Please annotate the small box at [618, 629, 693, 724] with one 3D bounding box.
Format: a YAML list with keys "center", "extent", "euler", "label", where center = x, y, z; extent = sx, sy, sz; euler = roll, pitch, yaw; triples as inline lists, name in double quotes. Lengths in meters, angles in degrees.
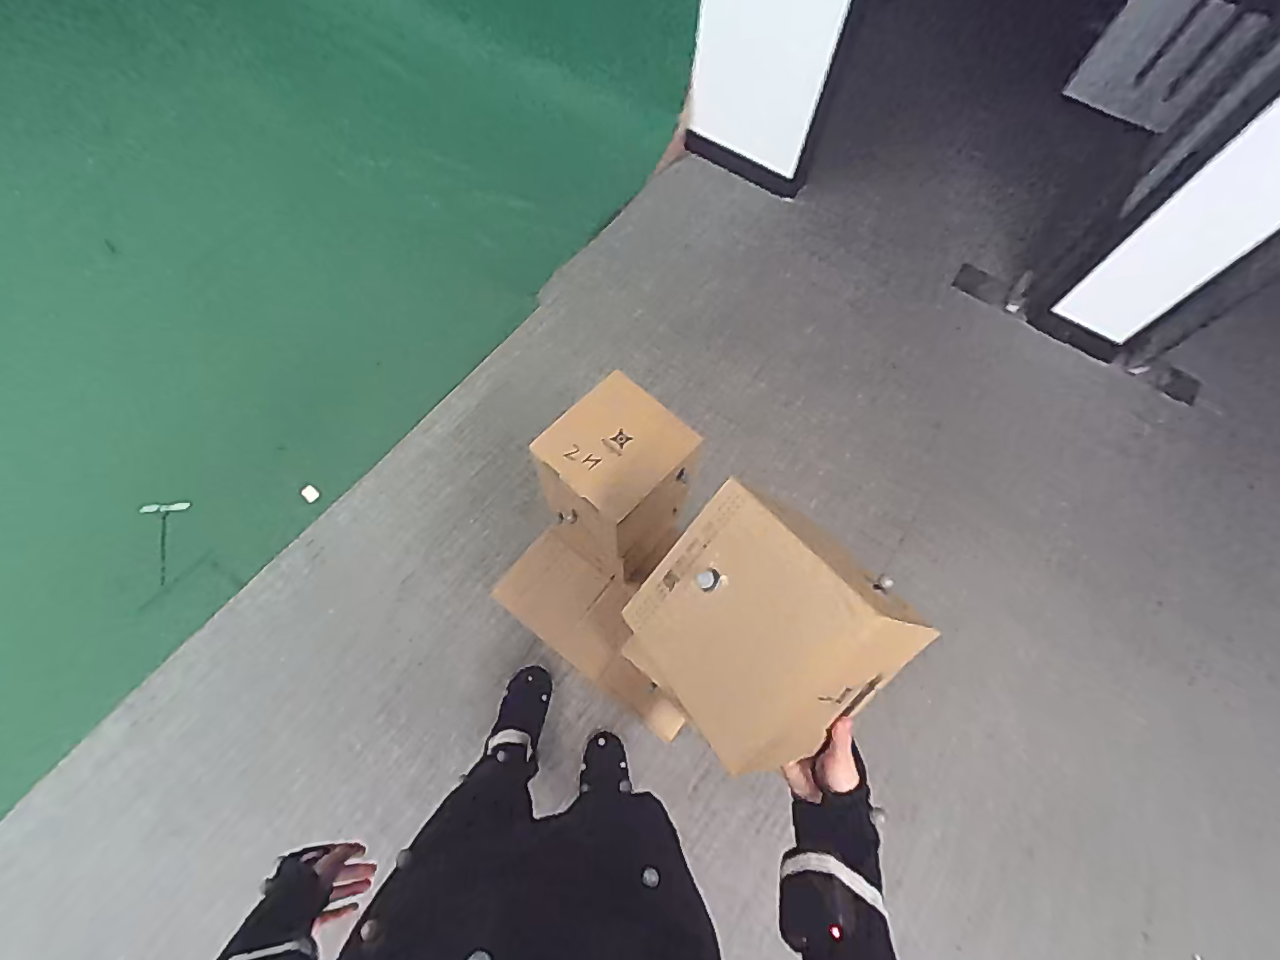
- center: [0.084, 0.273, 0.857]
  extent: [0.179, 0.176, 0.168]
  euler: [38, 73, 14]
  label: "small box"

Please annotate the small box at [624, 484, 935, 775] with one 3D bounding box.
- center: [0.121, 0.125, 0.487]
  extent: [0.168, 0.179, 0.176]
  euler: [-53, 49, 13]
  label: "small box"

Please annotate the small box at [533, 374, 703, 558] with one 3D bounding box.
- center: [-0.032, -0.014, 0.801]
  extent: [0.168, 0.176, 0.179]
  euler: [41, 72, 15]
  label: "small box"
